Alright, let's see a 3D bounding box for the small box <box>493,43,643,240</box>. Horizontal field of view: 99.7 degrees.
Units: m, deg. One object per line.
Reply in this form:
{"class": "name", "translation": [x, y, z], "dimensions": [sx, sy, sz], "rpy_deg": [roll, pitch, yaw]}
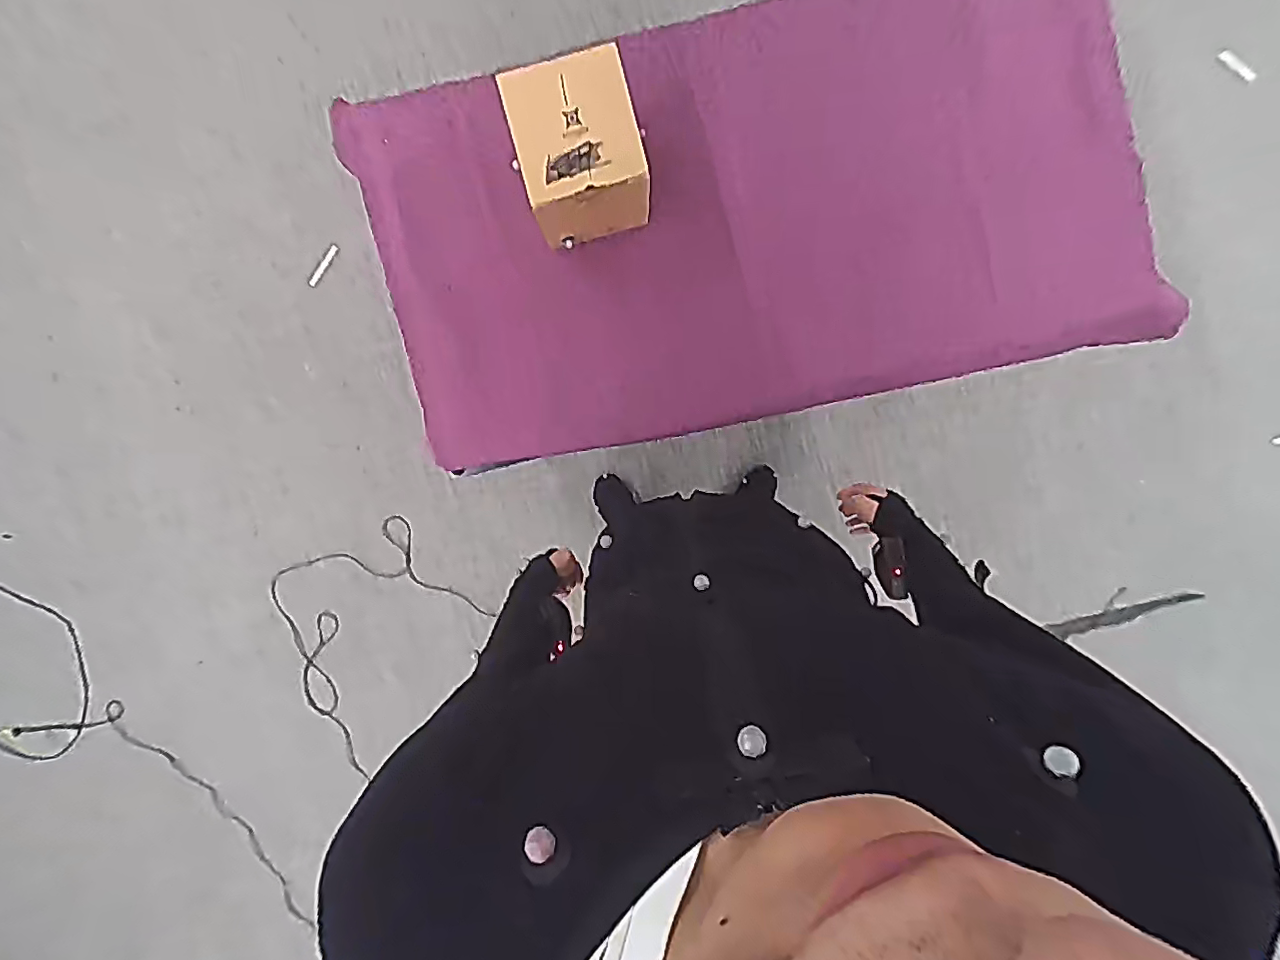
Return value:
{"class": "small box", "translation": [-0.093, -0.473, 0.791], "dimensions": [0.168, 0.176, 0.179], "rpy_deg": [-15, 94, 1]}
